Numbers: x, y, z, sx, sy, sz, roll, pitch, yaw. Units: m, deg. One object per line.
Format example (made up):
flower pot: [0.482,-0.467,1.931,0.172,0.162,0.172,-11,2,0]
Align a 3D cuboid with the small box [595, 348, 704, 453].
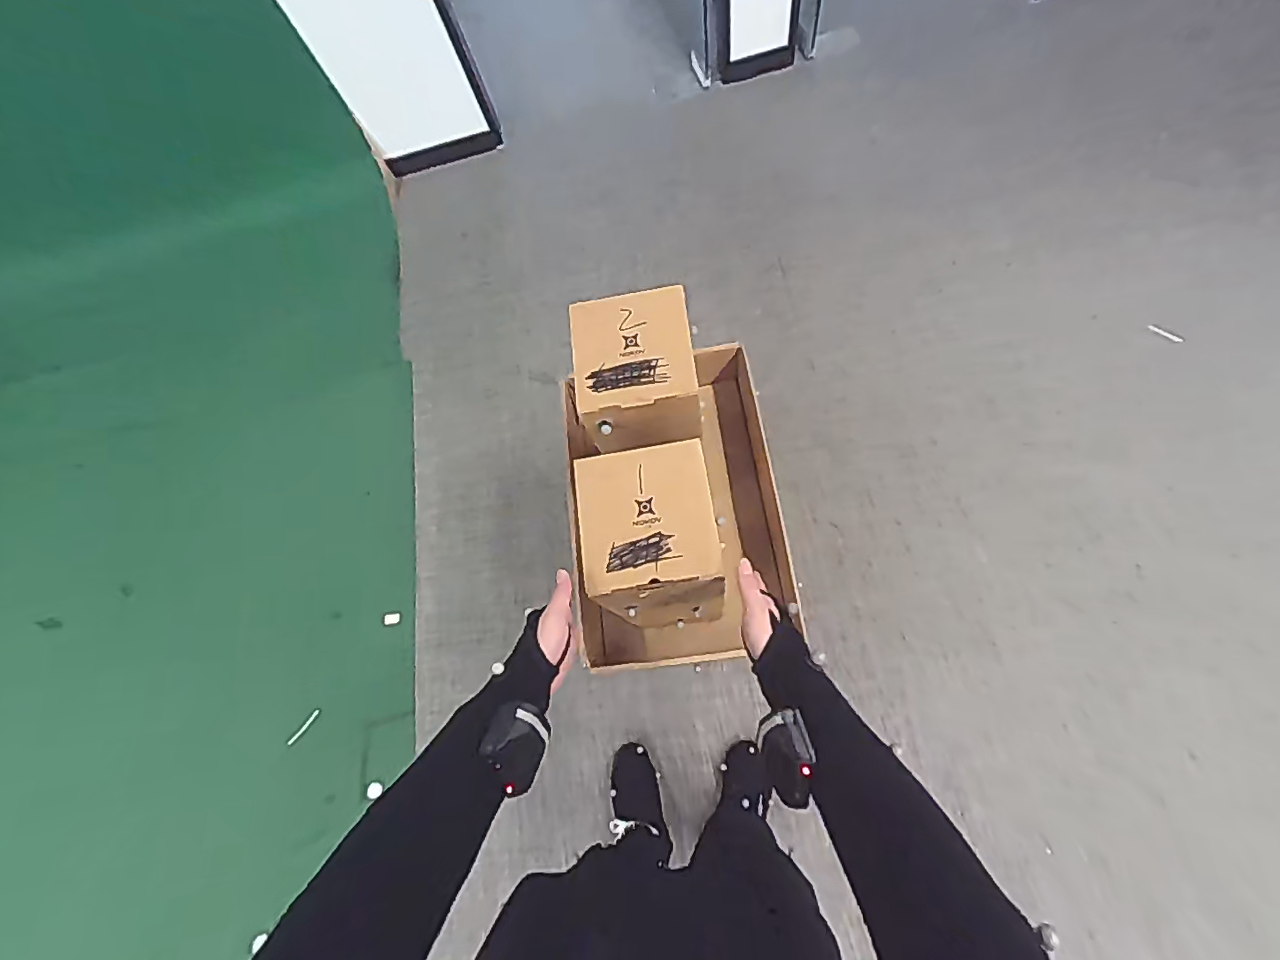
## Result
small box: [0.021,-0.108,0.970,0.168,0.176,0.179,-9,71,5]

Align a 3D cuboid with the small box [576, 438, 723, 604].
small box: [0.018,0.066,0.728,0.168,0.176,0.179,-9,68,5]

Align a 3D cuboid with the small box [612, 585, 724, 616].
small box: [0.044,0.123,0.879,0.168,0.176,0.179,-8,69,5]
